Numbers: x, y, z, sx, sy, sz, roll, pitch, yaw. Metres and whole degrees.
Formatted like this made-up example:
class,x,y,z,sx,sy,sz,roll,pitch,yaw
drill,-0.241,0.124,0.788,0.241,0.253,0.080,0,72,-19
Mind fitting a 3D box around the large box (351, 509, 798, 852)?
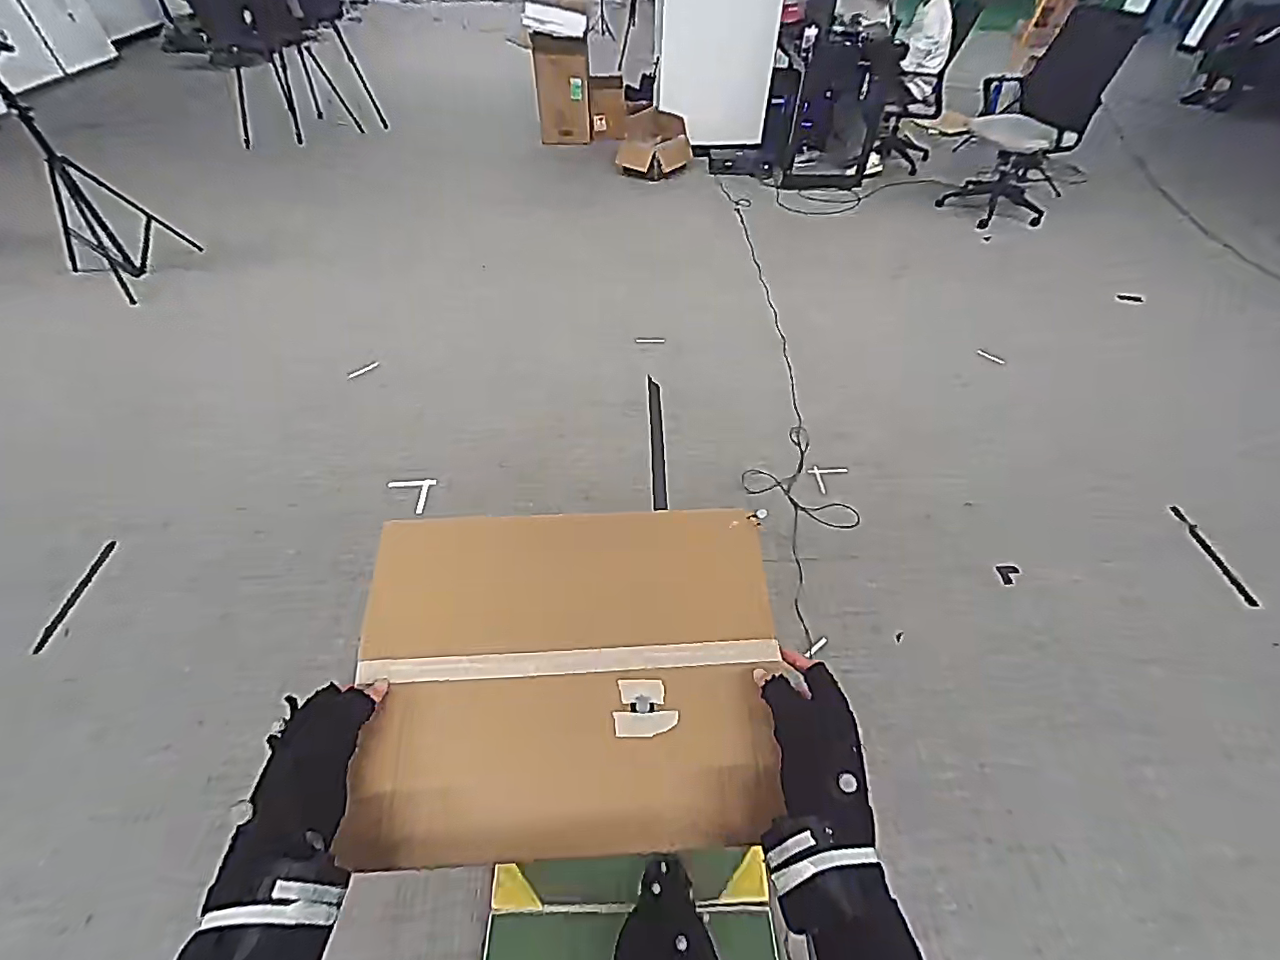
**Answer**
class,x,y,z,sx,sy,sz,roll,pitch,yaw
large box,-0.069,0.246,0.675,0.408,0.320,0.320,-2,62,-4
